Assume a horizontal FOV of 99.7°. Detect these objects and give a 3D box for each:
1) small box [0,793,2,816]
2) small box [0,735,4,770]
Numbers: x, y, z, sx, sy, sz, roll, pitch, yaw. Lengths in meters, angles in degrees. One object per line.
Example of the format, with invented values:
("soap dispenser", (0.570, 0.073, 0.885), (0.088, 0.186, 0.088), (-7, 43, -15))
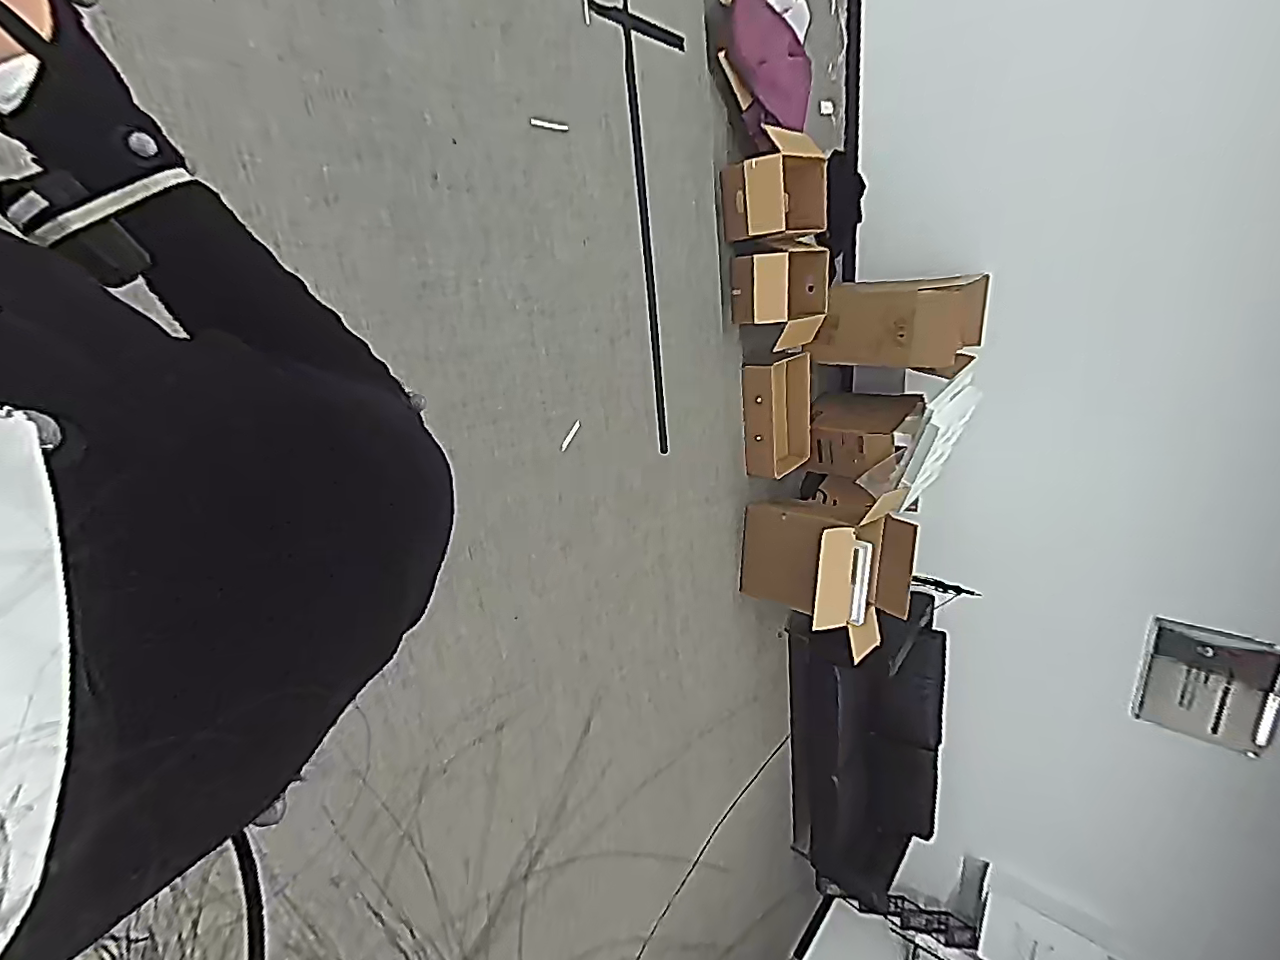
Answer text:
("small box", (-1.033, 0.478, 0.742), (0.168, 0.176, 0.179), (-25, 117, -43))
("small box", (-1.153, 0.437, 0.850), (0.168, 0.176, 0.179), (-20, 113, -45))
